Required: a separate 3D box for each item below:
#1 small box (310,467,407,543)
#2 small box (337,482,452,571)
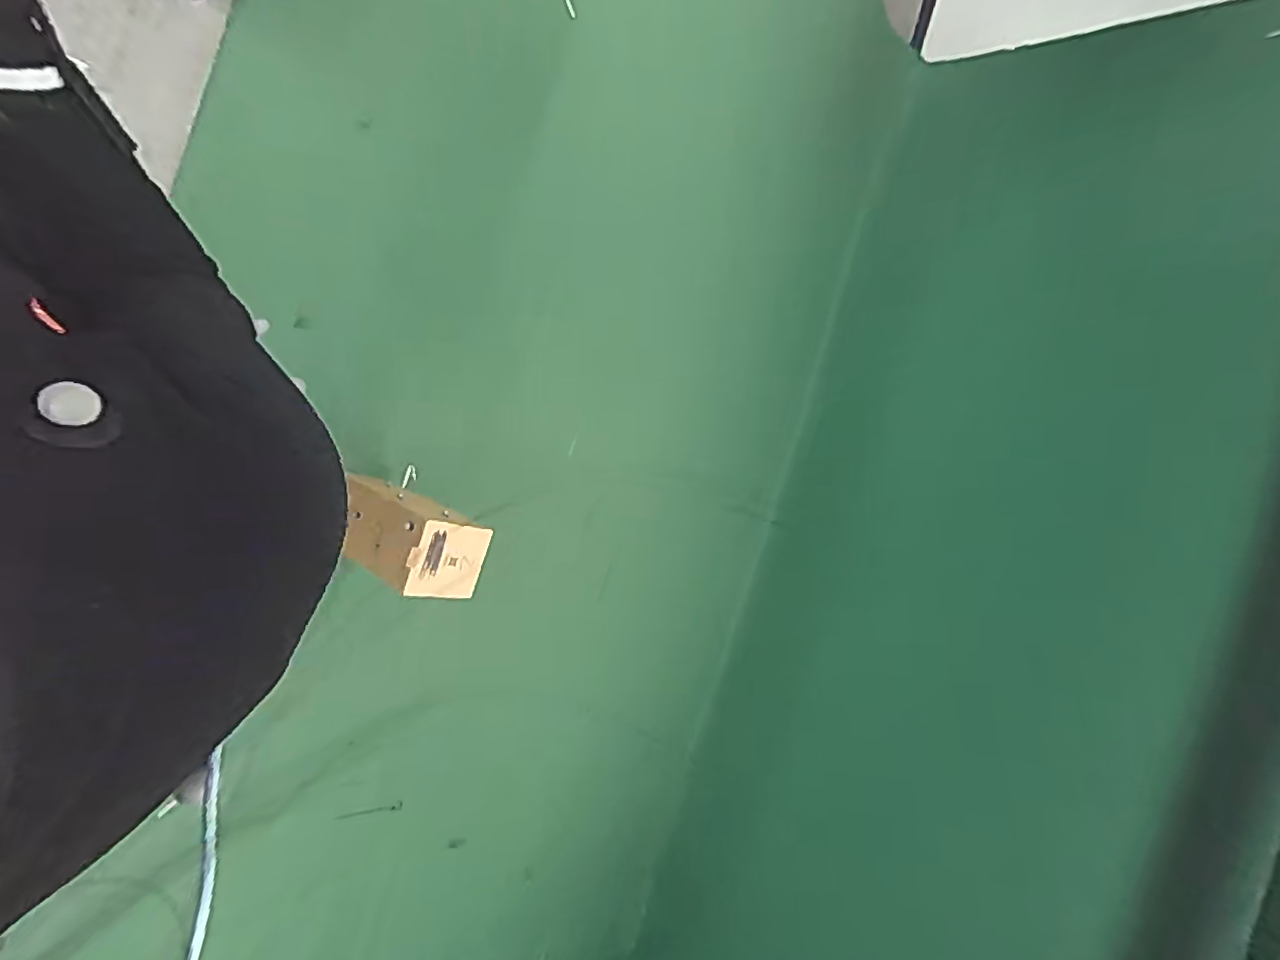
[{"bbox_3d":[-0.725,0.075,1.425,0.179,0.176,0.168,22,86,-52],"label":"small box"},{"bbox_3d":[-0.601,0.113,1.326,0.179,0.176,0.168,19,89,-52],"label":"small box"}]
